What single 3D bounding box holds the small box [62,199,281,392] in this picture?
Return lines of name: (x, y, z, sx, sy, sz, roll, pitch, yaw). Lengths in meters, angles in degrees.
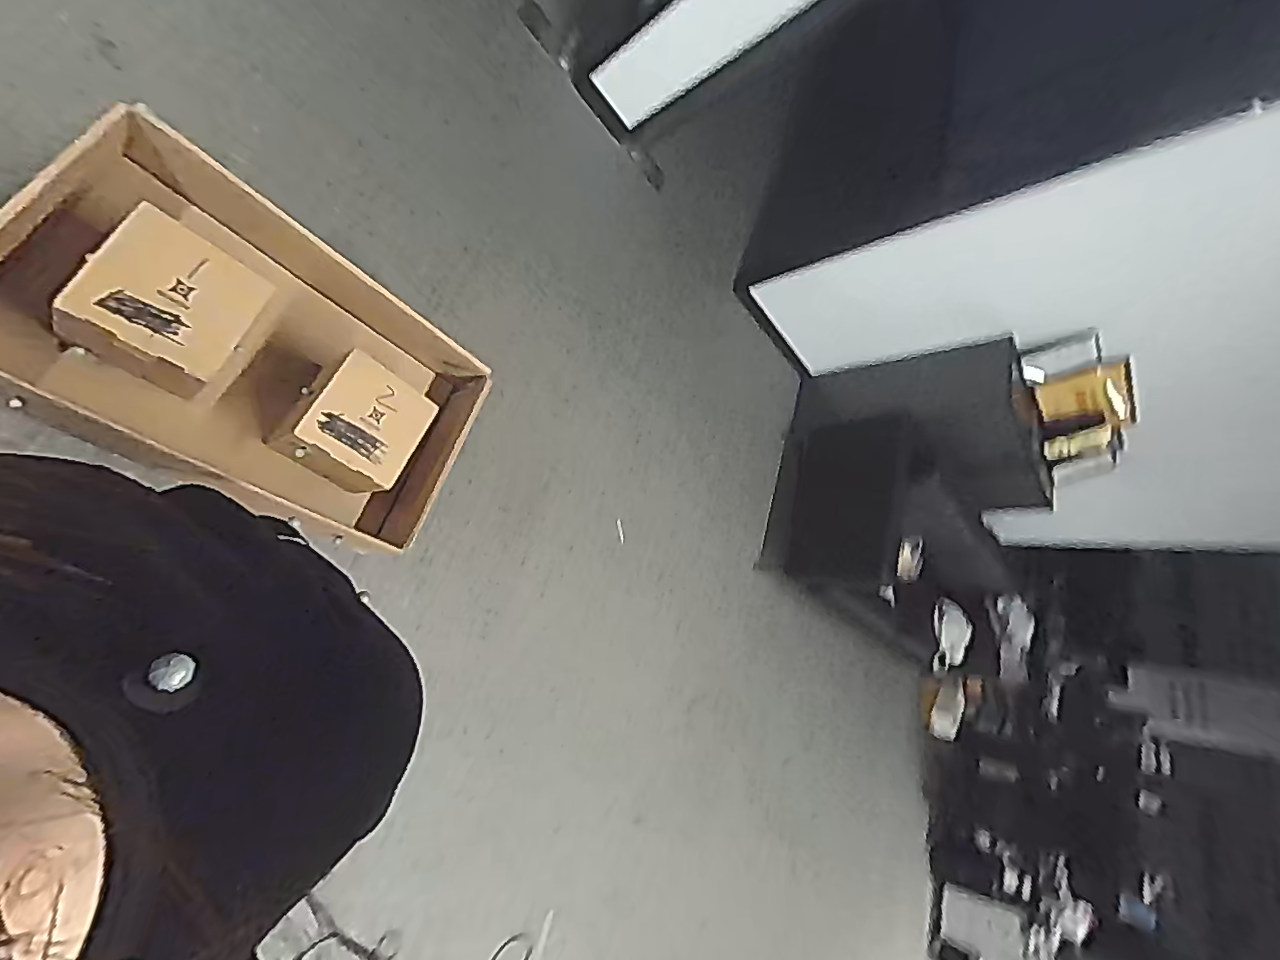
small box: (-0.657, -0.246, 0.769, 0.168, 0.176, 0.179, 36, 62, -38)
